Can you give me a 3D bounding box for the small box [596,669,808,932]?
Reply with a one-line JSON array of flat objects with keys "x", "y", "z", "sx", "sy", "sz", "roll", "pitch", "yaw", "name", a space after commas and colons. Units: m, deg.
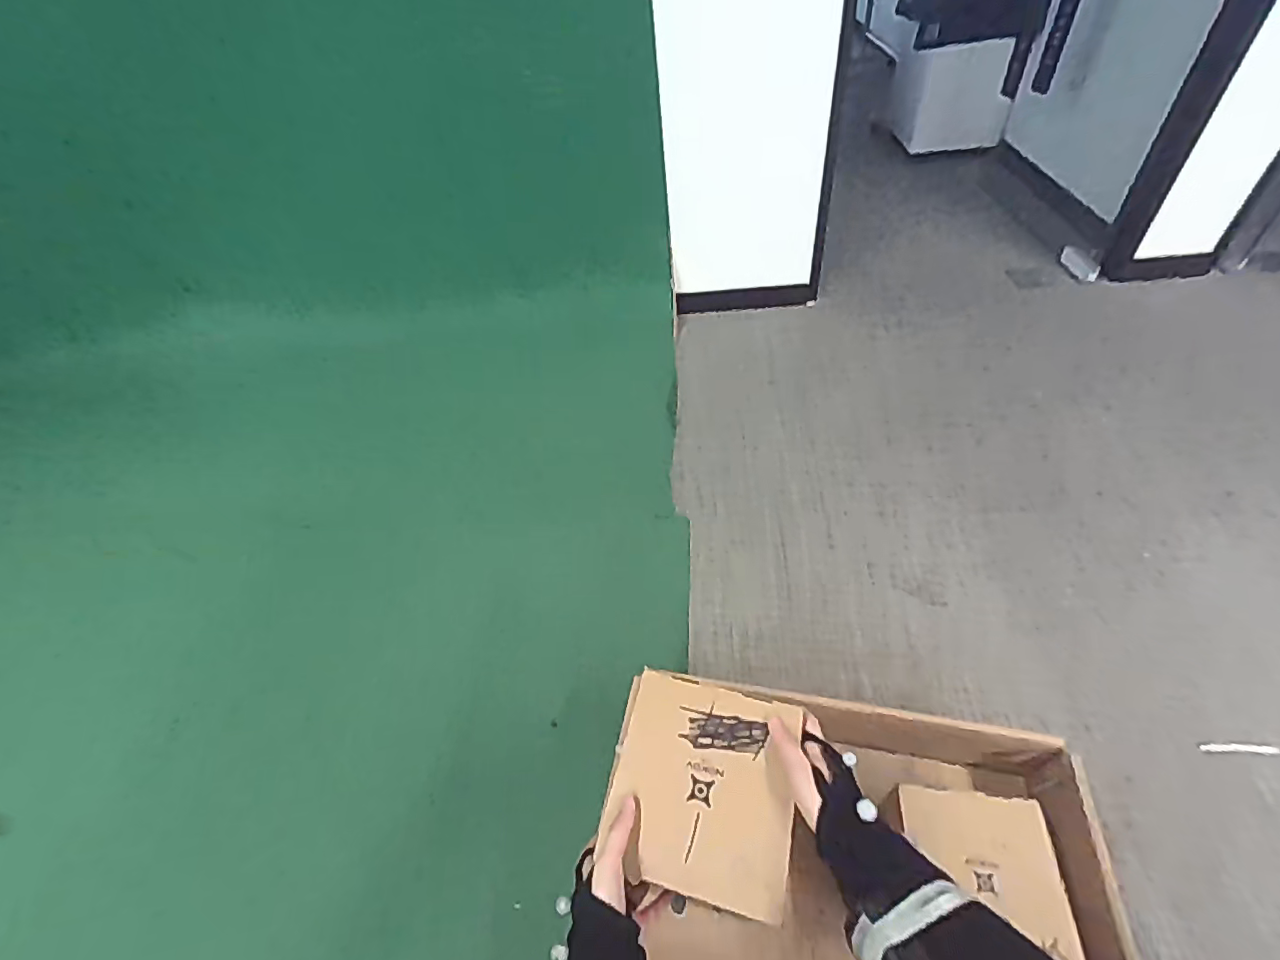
[{"x": 0.068, "y": 0.323, "z": 0.554, "sx": 0.168, "sy": 0.176, "sz": 0.179, "roll": 9, "pitch": 55, "yaw": 14, "name": "small box"}]
